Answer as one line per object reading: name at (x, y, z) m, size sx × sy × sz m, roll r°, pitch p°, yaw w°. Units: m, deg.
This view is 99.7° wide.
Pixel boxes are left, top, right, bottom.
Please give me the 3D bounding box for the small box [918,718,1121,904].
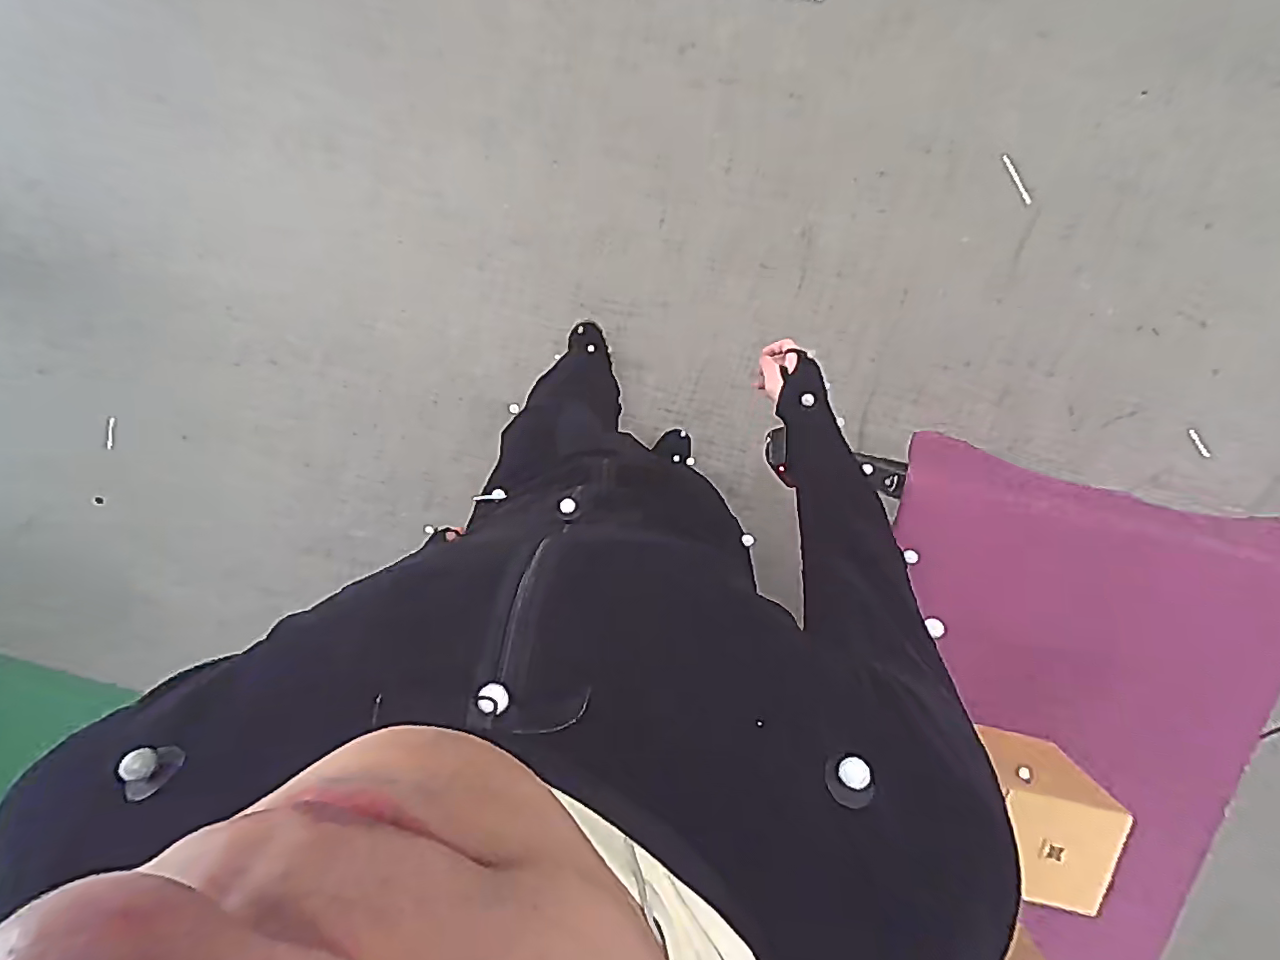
small box at (0.575, 0.503, 0.846) m, size 0.179 × 0.176 × 0.168 m, roll 12°, pitch 100°, yaw 3°
